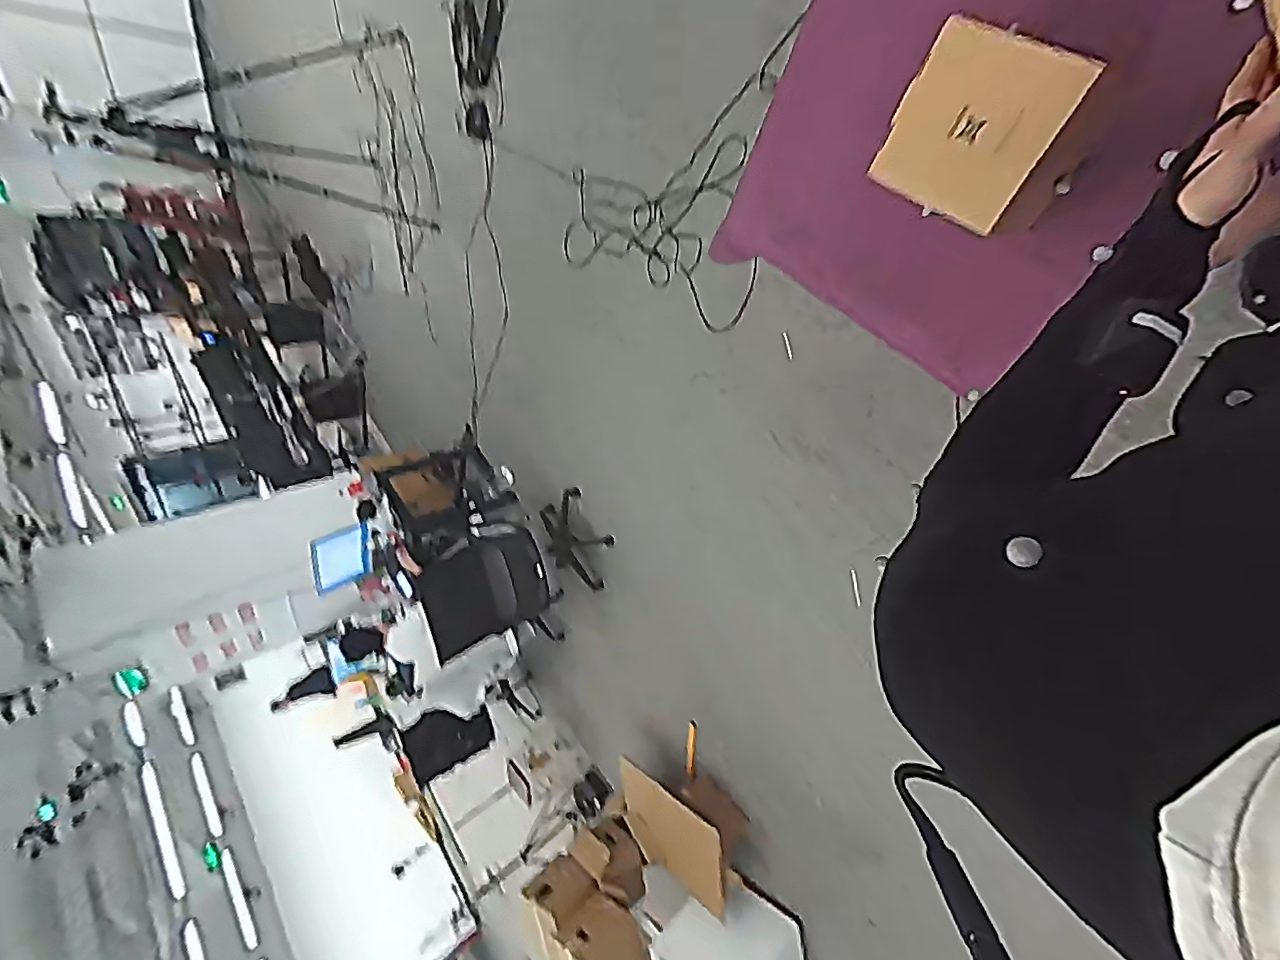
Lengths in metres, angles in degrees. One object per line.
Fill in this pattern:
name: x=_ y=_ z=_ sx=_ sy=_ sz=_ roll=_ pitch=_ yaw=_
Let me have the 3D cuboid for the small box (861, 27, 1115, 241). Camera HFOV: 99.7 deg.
small box: x=0.418 y=-0.408 z=0.659 sx=0.179 sy=0.176 sz=0.168 roll=46 pitch=136 yaw=25
